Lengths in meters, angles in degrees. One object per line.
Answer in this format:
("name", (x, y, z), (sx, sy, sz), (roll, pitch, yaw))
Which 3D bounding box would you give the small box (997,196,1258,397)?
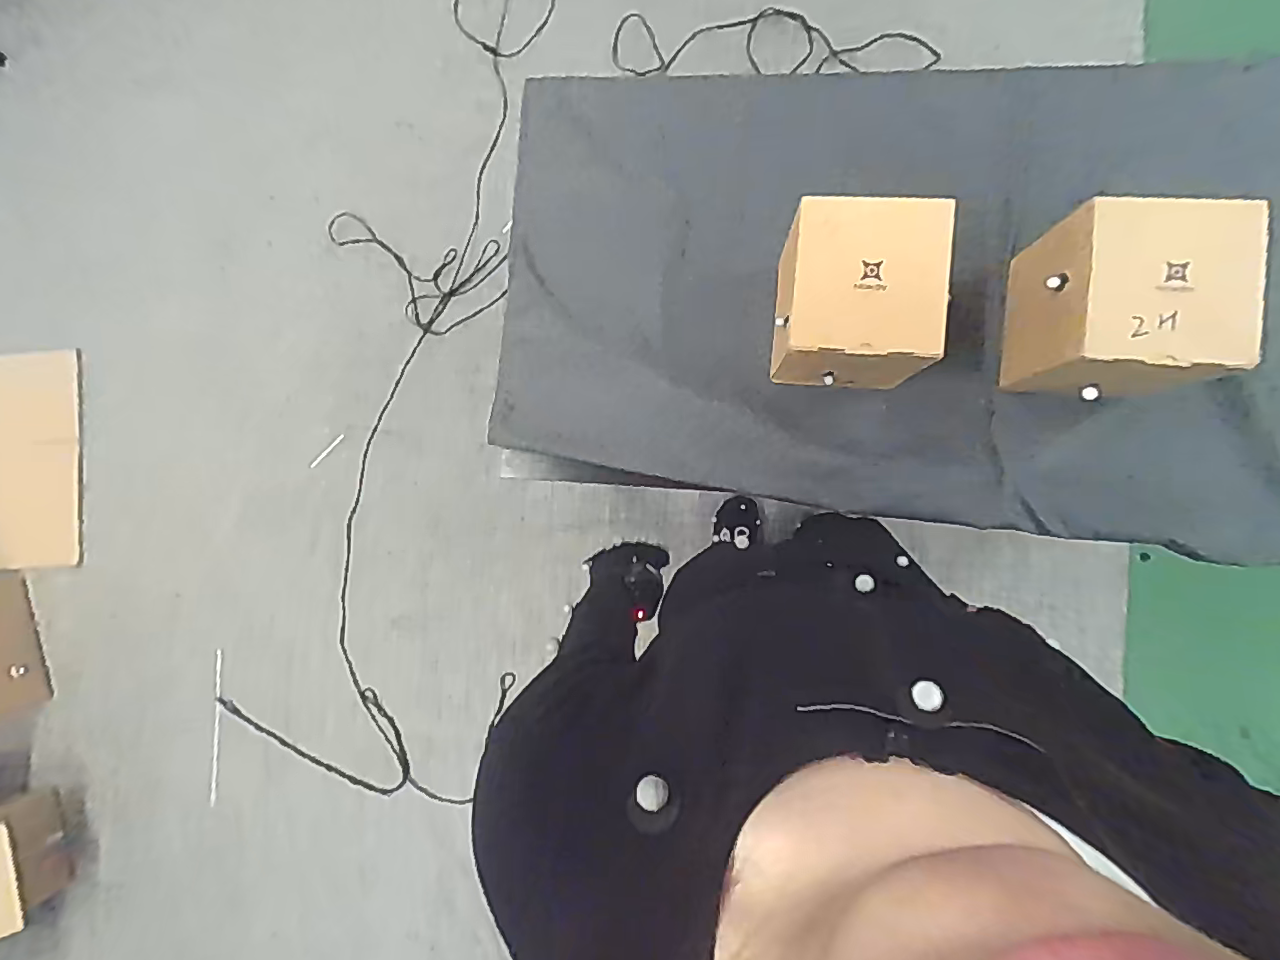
("small box", (0.558, -0.206, 0.644), (0.168, 0.176, 0.179), (5, 89, 6))

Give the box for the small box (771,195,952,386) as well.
("small box", (0.262, -0.225, 0.677), (0.168, 0.176, 0.179), (4, 89, 6))
